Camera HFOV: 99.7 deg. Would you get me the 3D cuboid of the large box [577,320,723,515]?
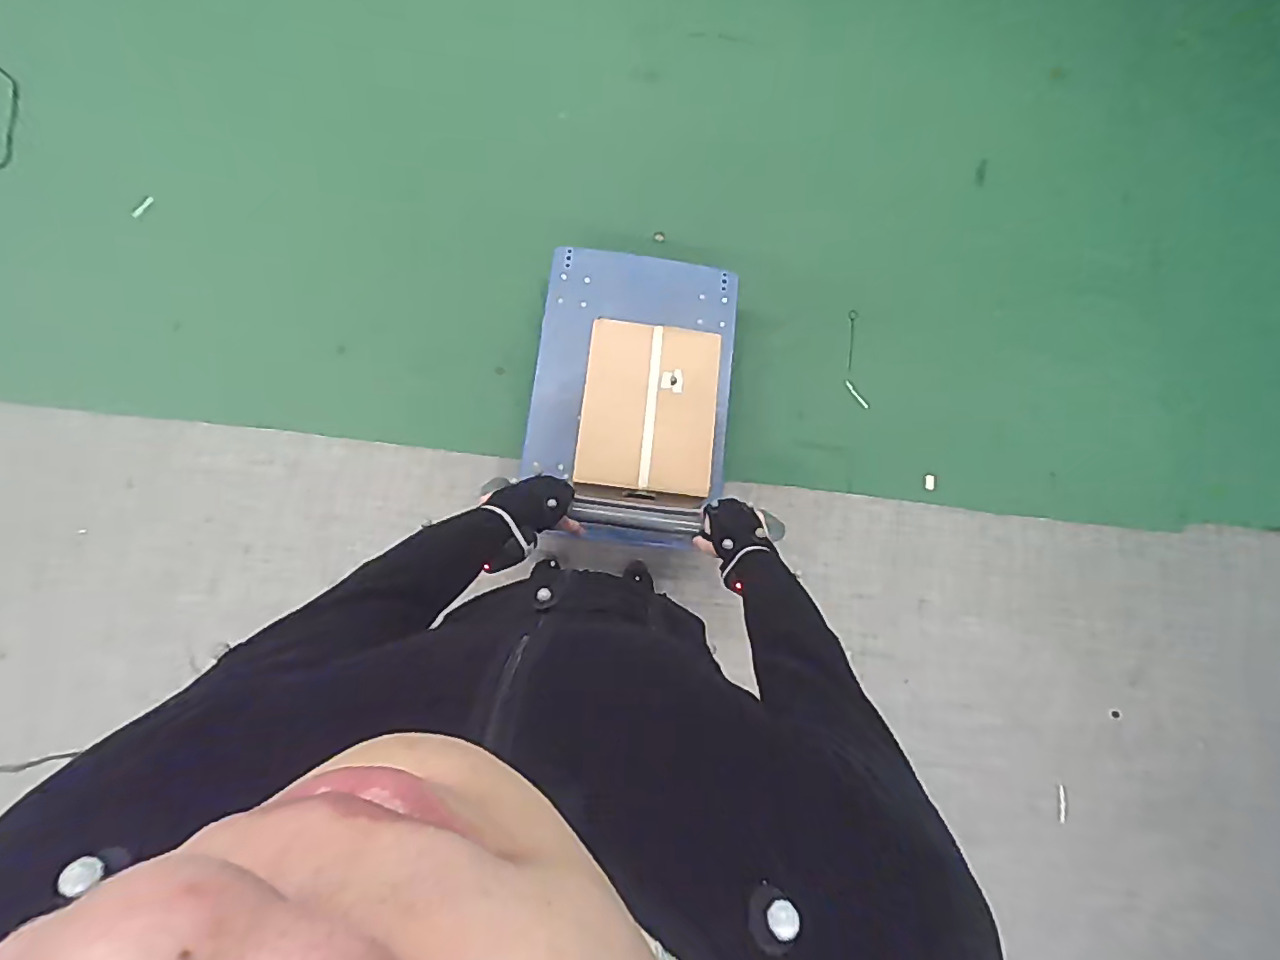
[{"bbox_3d":[0.018,-0.138,1.386,0.320,0.320,0.408,7,78,-4],"label":"large box"}]
